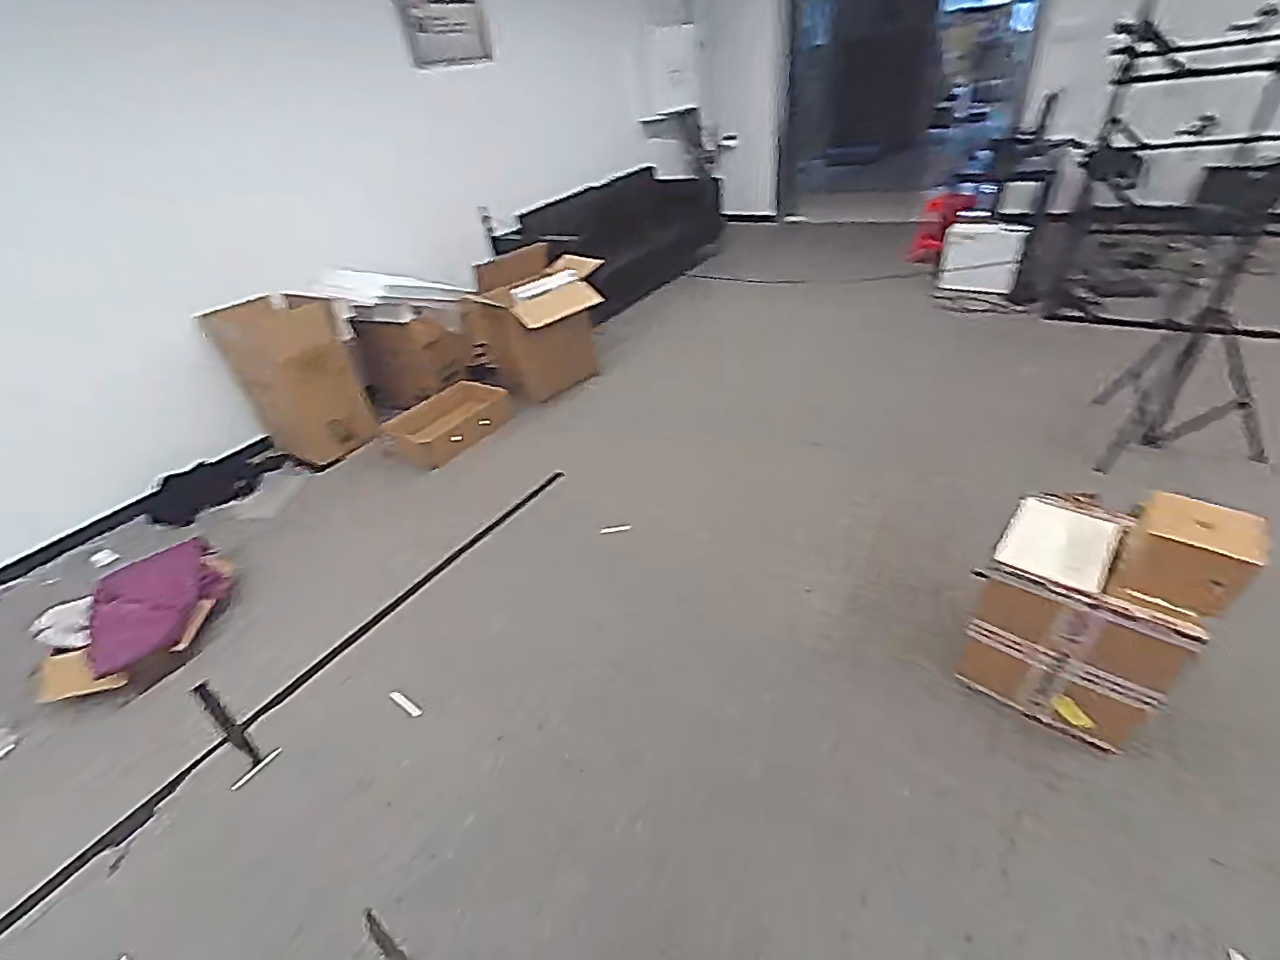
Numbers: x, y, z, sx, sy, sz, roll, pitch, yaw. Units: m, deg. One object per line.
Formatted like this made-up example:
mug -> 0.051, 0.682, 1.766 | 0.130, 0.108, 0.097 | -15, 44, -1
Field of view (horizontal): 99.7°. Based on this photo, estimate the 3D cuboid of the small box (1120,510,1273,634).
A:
small box -> 1.178, 0.199, 1.154 | 0.179, 0.176, 0.168 | 22, 47, 33
